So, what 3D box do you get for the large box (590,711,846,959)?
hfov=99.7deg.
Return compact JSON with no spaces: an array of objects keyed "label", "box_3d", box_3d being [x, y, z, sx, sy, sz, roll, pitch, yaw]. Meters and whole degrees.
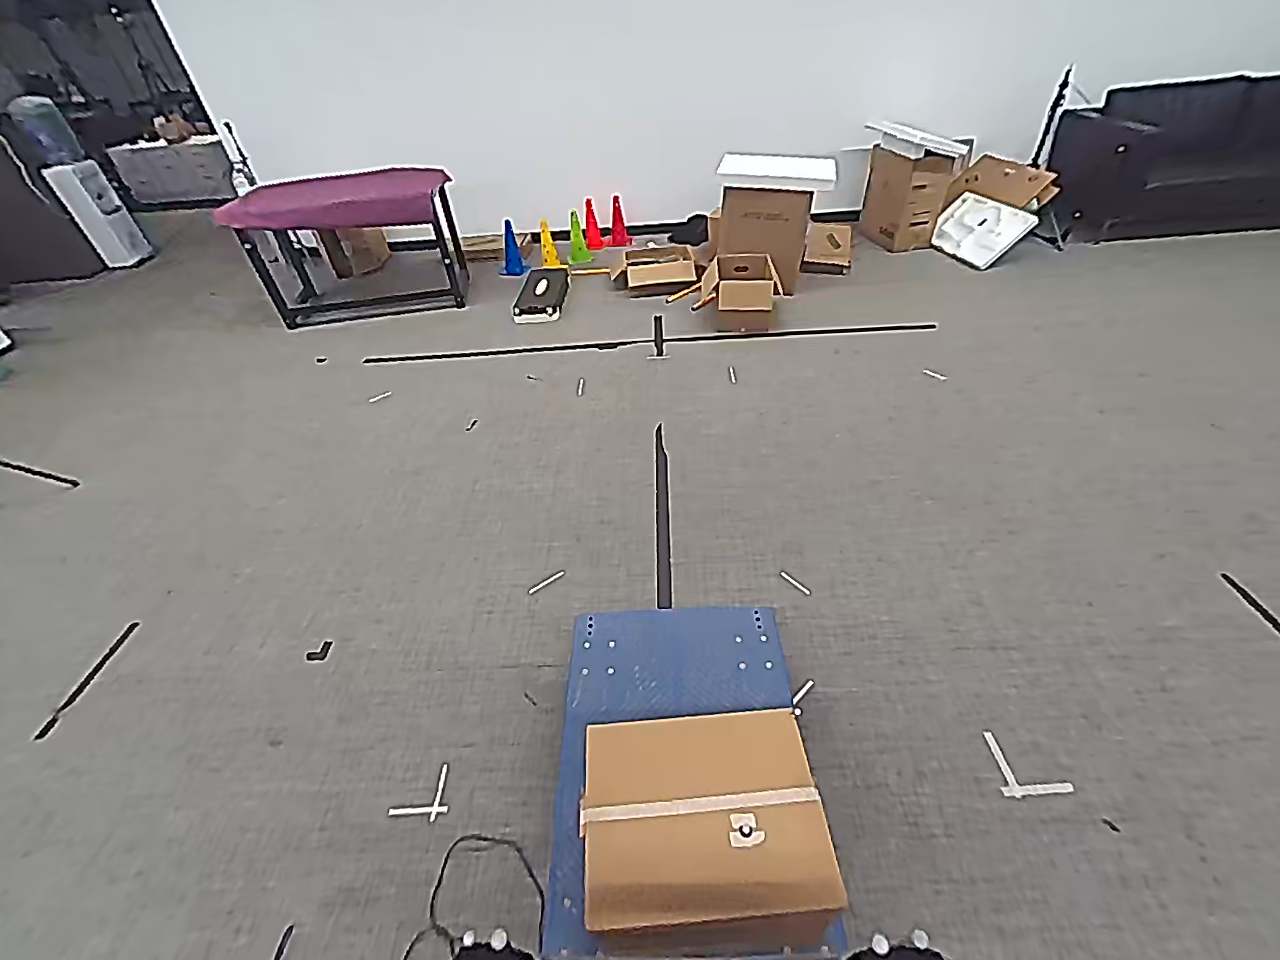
[{"label":"large box","box_3d":[0.118,0.684,1.039,0.408,0.320,0.320,-5,42,-1]}]
